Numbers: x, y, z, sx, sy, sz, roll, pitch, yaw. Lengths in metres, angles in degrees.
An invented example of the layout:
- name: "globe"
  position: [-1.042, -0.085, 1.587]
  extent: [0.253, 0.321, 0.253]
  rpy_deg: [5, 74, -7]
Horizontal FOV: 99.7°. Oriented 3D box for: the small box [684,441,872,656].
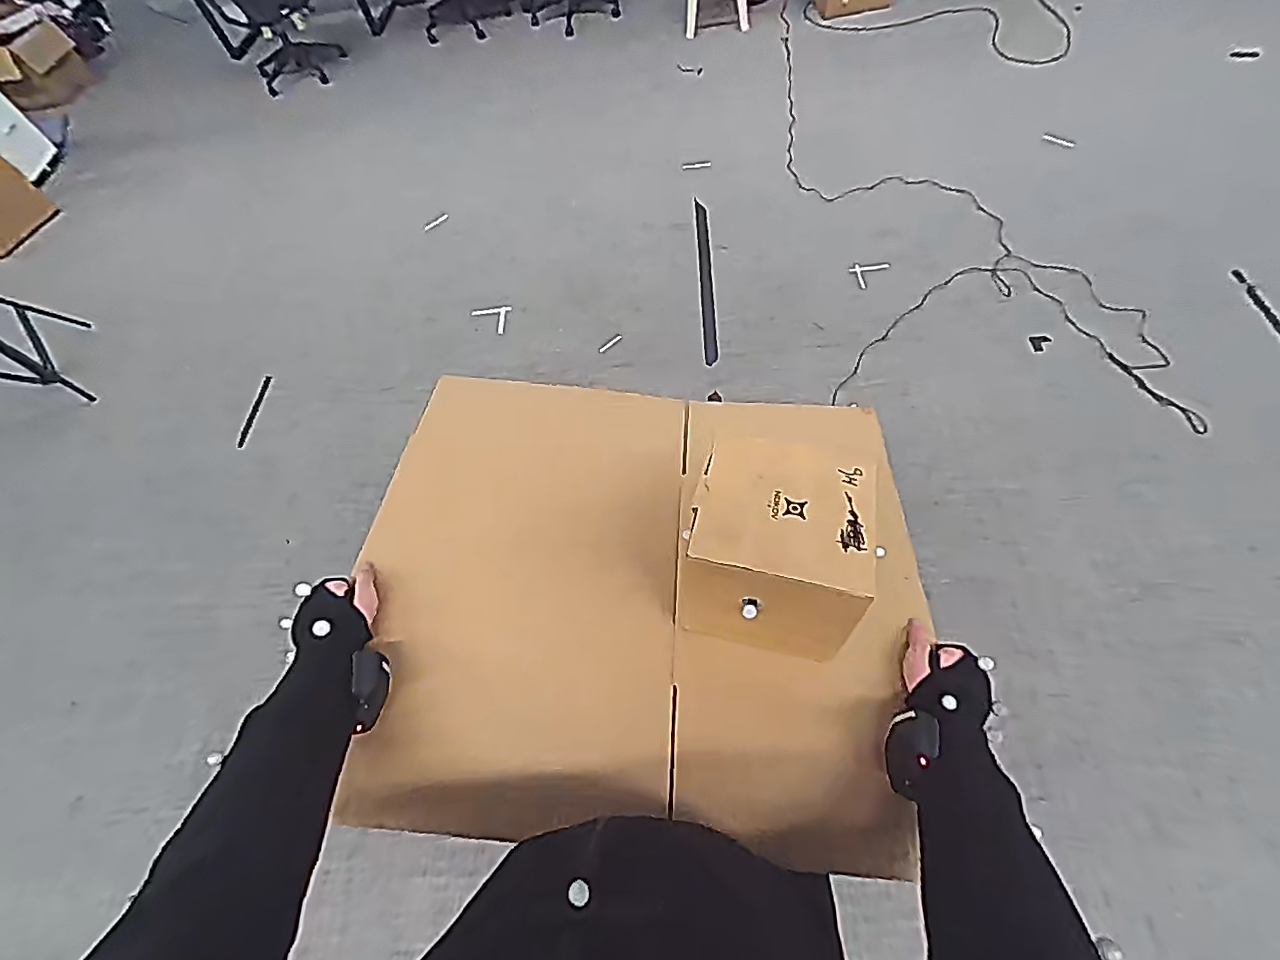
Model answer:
- name: "small box"
  position: [0.151, 0.081, 0.617]
  extent: [0.179, 0.176, 0.168]
  rpy_deg: [10, 53, 12]
